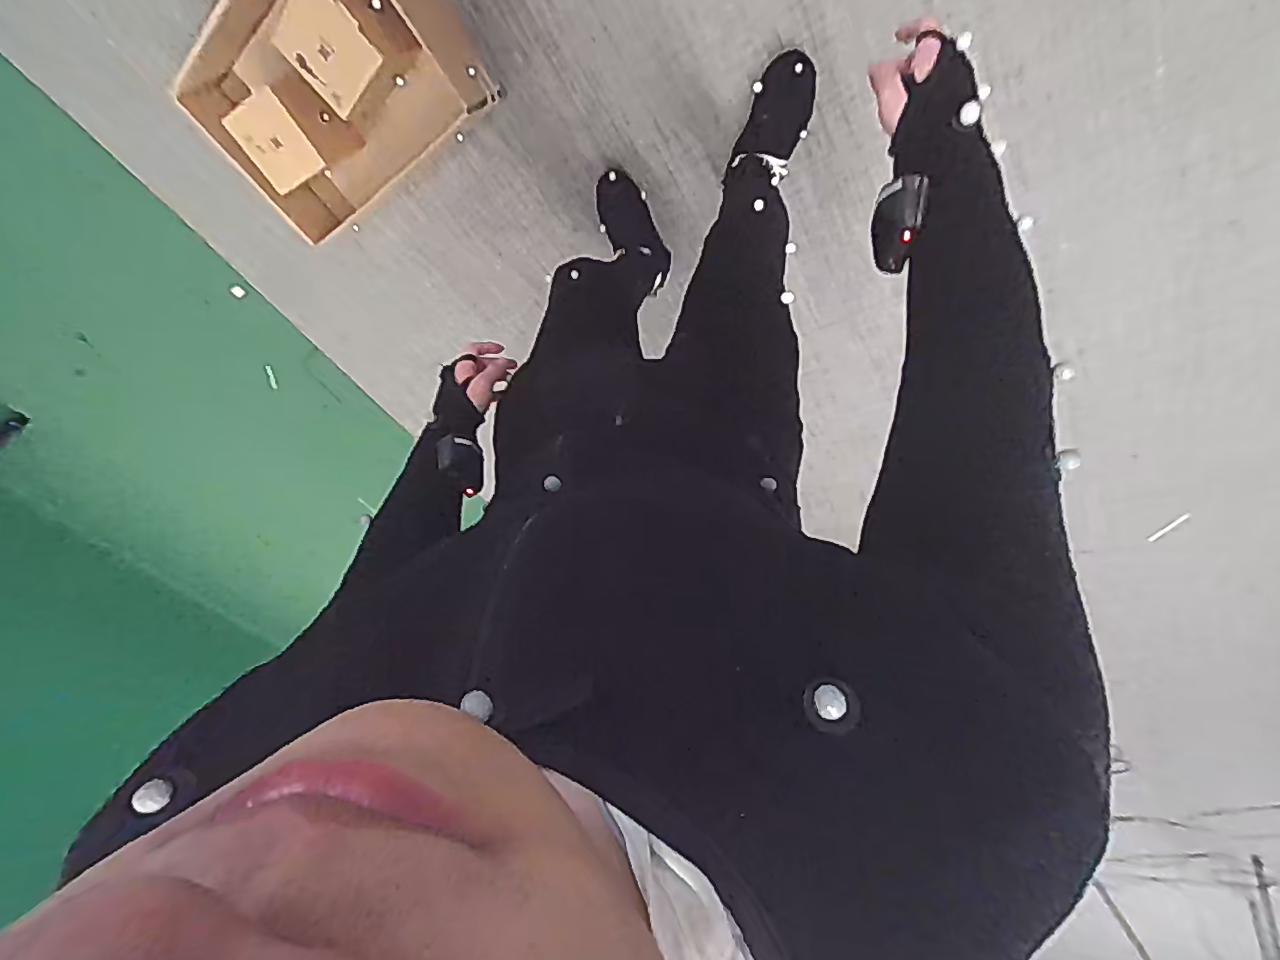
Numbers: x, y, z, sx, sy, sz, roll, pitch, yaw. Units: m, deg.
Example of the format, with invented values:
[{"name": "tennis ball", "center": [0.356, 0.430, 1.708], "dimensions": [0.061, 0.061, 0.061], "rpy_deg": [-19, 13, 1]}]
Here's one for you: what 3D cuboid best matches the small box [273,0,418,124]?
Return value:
[{"name": "small box", "center": [-0.577, -0.869, 1.084], "dimensions": [0.179, 0.176, 0.168], "rpy_deg": [-21, 126, 35]}]
